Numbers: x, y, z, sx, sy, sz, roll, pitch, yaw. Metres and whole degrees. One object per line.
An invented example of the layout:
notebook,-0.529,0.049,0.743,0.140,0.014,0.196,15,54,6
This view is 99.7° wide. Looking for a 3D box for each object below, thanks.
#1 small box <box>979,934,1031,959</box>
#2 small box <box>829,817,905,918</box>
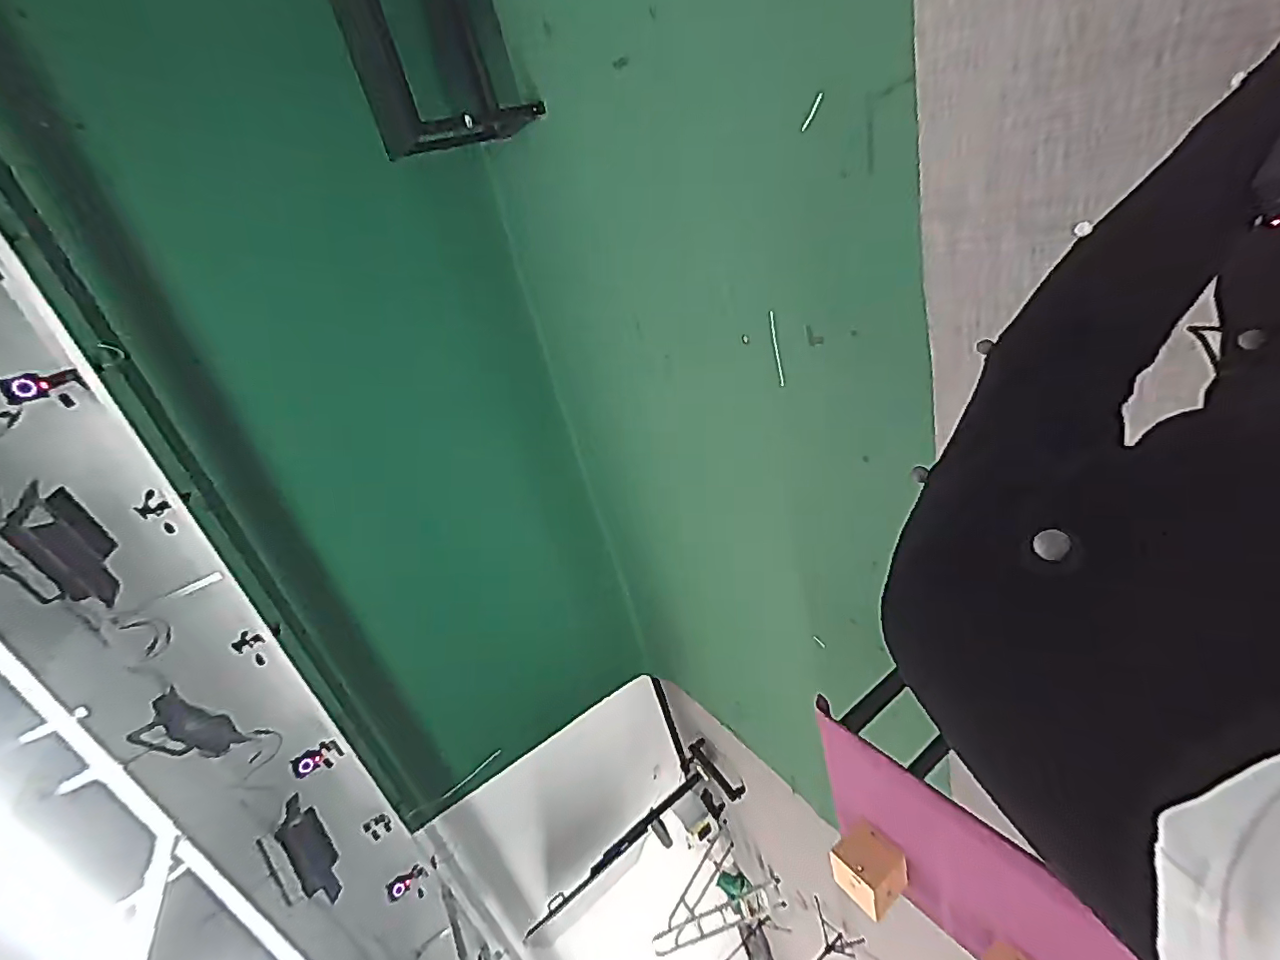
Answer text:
small box,0.991,1.377,1.433,0.168,0.176,0.179,24,135,53
small box,0.752,1.272,1.783,0.168,0.176,0.179,22,134,53
